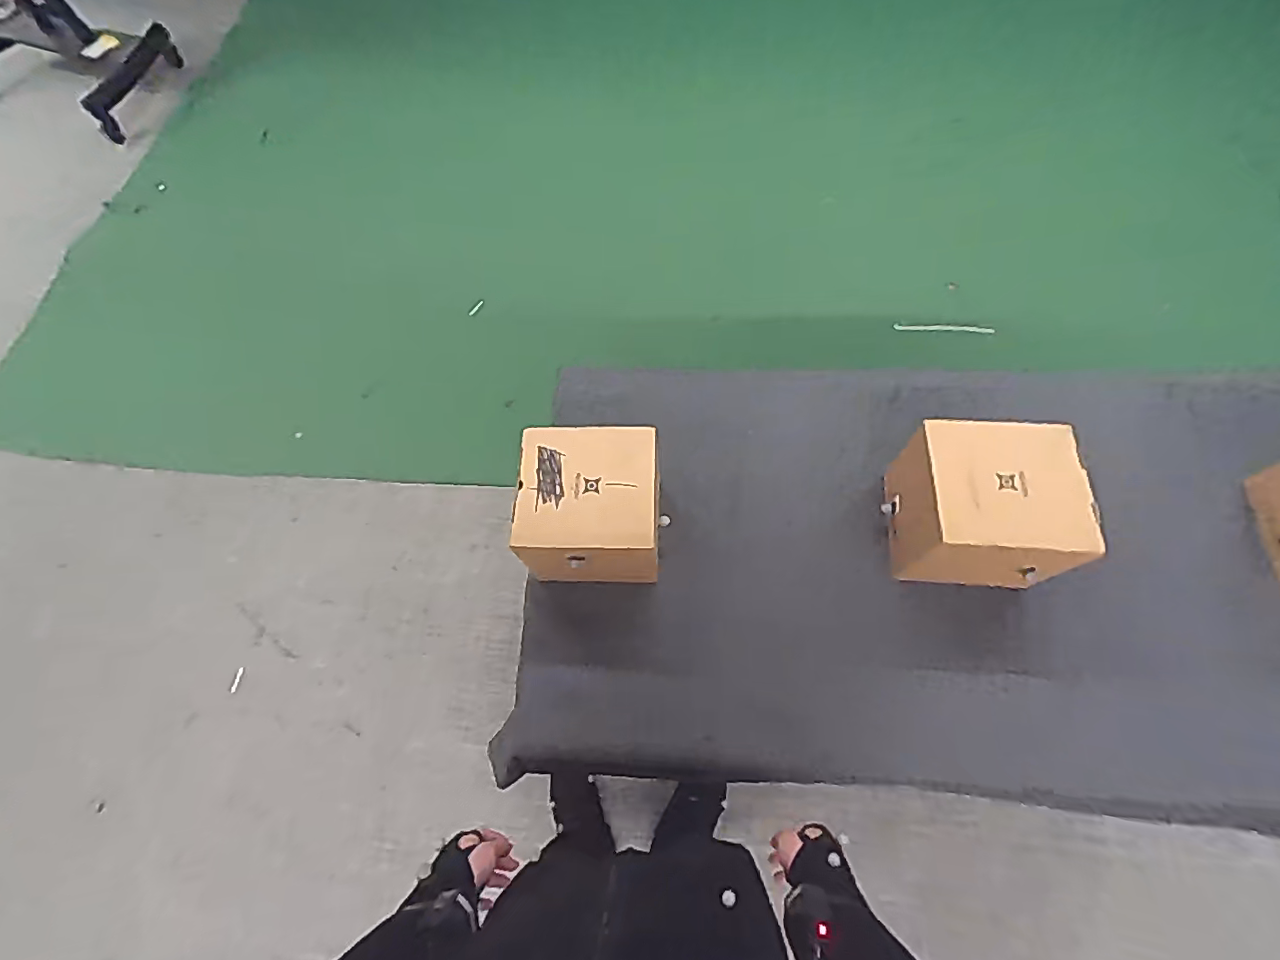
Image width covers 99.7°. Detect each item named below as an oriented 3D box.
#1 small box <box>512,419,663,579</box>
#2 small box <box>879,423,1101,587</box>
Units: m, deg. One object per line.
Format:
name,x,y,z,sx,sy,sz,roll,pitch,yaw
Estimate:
small box,-0.059,0.033,0.729,0.179,0.176,0.168,1,65,0
small box,0.444,0.040,0.720,0.179,0.176,0.168,3,64,4
